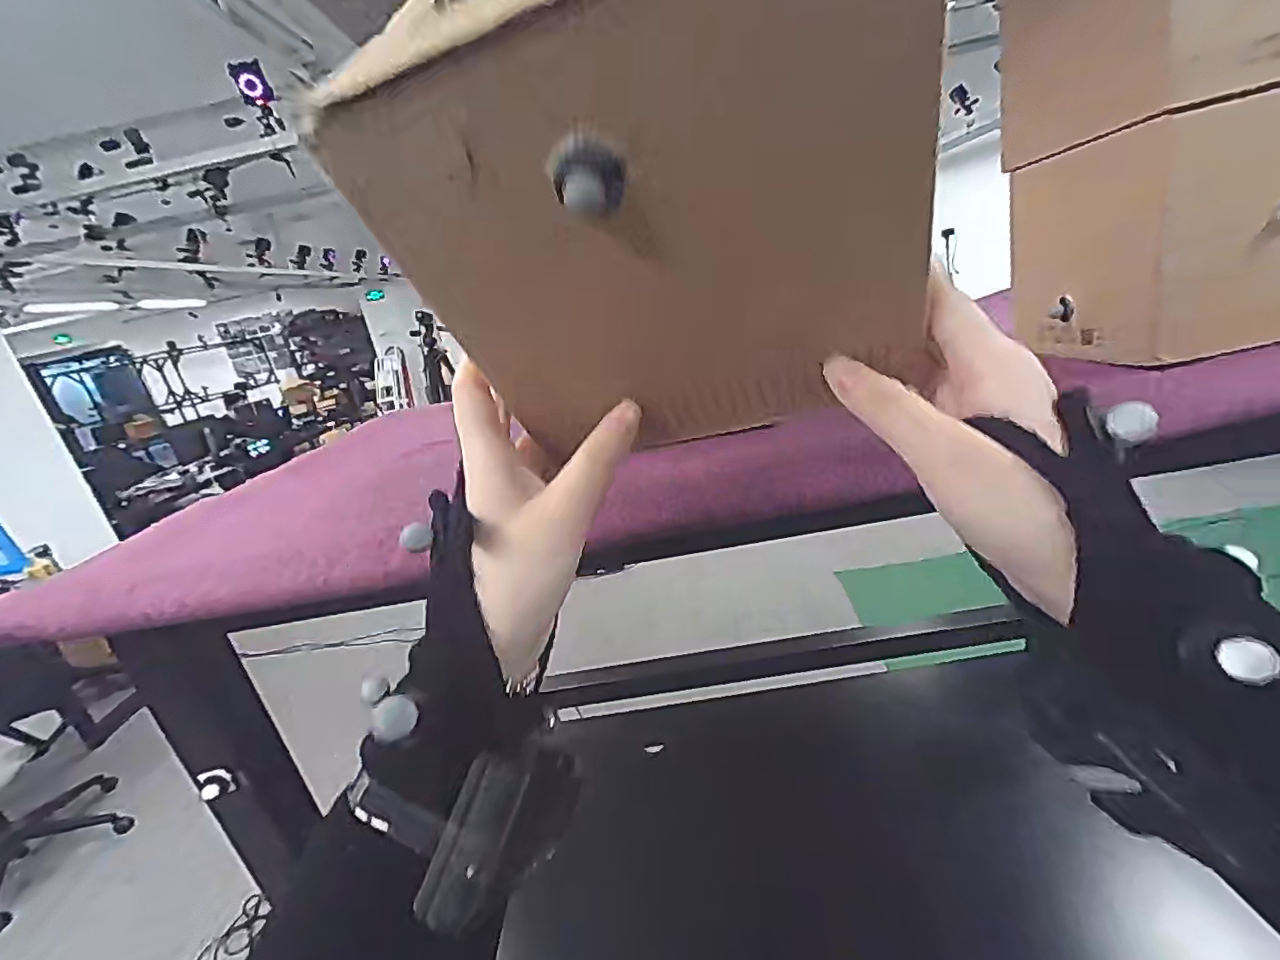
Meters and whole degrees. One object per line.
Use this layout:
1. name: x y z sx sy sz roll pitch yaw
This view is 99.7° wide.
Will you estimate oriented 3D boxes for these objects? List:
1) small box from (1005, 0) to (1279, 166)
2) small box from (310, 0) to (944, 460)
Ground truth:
1. small box: 0.397 -0.352 0.386 0.168 0.176 0.179 -11 18 5
2. small box: 0.015 -0.128 0.235 0.179 0.176 0.168 -12 53 16
